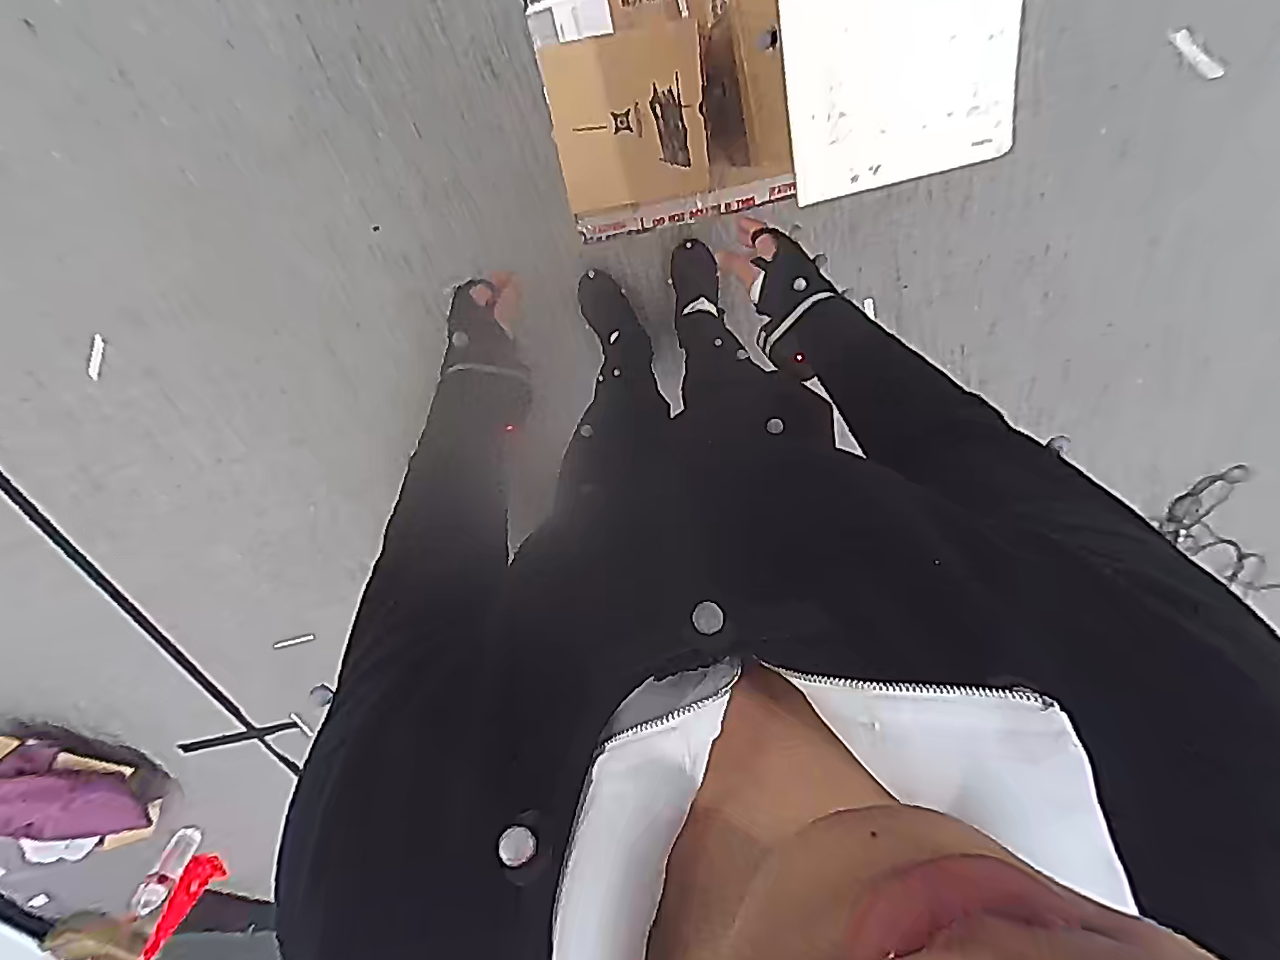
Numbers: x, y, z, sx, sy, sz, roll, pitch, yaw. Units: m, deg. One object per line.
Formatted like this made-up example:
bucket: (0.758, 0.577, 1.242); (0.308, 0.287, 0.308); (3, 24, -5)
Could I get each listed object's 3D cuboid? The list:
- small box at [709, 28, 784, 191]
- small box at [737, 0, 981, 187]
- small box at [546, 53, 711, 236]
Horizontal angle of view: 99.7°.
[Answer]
small box: (0.199, -0.482, 0.678); (0.179, 0.176, 0.168); (-17, 120, 6)
small box: (0.203, -0.407, 0.534); (0.168, 0.176, 0.179); (-15, 120, 5)
small box: (-0.011, -0.429, 0.700); (0.179, 0.176, 0.168); (-8, 121, 4)
